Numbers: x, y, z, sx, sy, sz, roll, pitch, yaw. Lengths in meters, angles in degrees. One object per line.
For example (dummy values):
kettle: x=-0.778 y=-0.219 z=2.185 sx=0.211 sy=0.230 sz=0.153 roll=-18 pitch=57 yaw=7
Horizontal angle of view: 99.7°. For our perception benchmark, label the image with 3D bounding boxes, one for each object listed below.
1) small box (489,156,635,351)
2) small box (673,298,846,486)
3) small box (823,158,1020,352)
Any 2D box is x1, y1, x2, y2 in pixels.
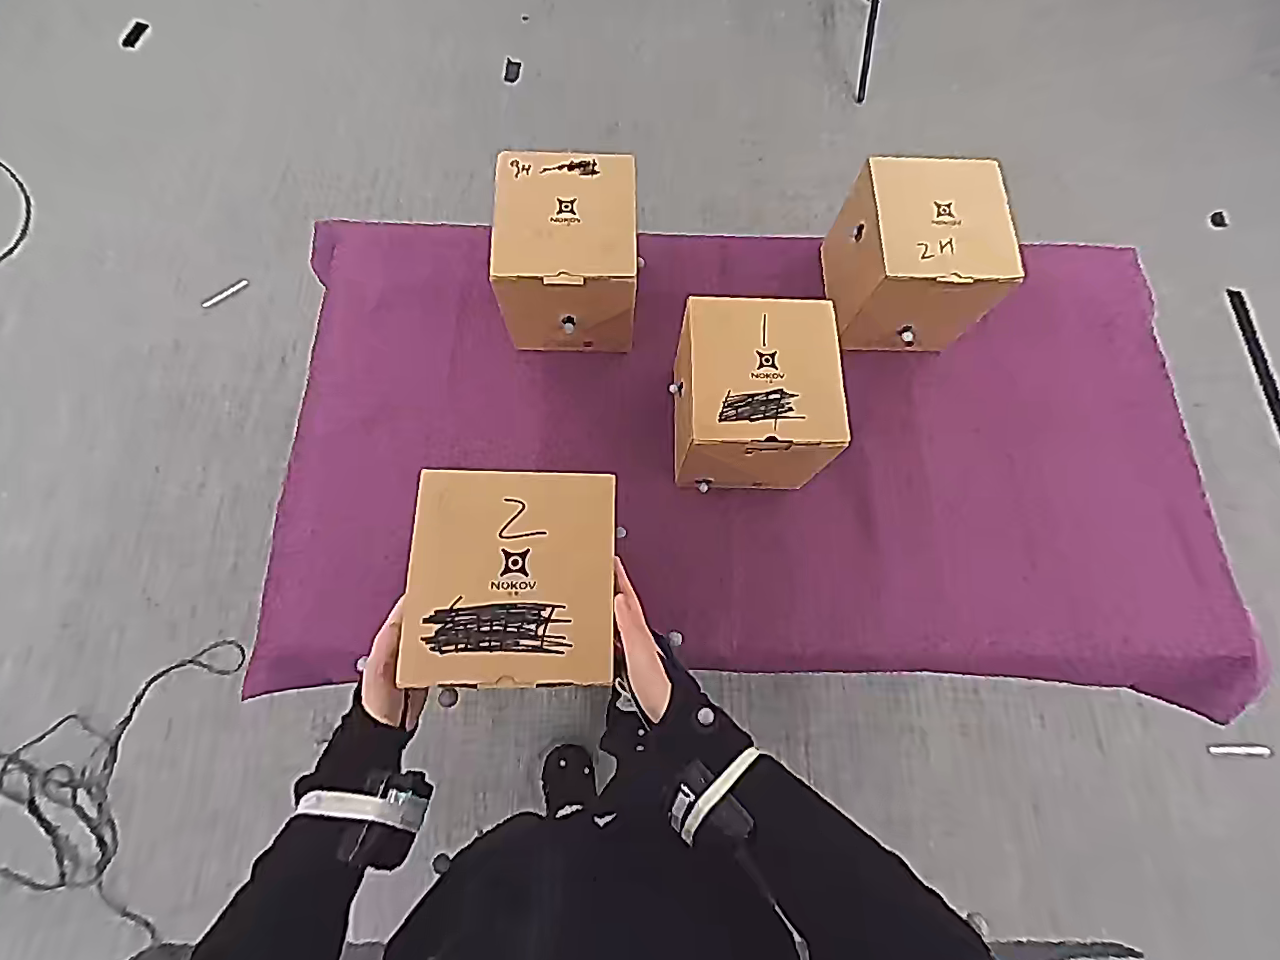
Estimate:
small box: x=-0.090 y=-0.282 z=0.703 sx=0.168 sy=0.176 sz=0.179 roll=0 pitch=75 yaw=-3
small box: x=0.131 y=-0.096 z=0.658 sx=0.168 sy=0.176 sz=0.179 roll=1 pitch=72 yaw=-2
small box: x=0.357 y=-0.292 z=0.724 sx=0.168 sy=0.176 sz=0.179 roll=0 pitch=74 yaw=-1
